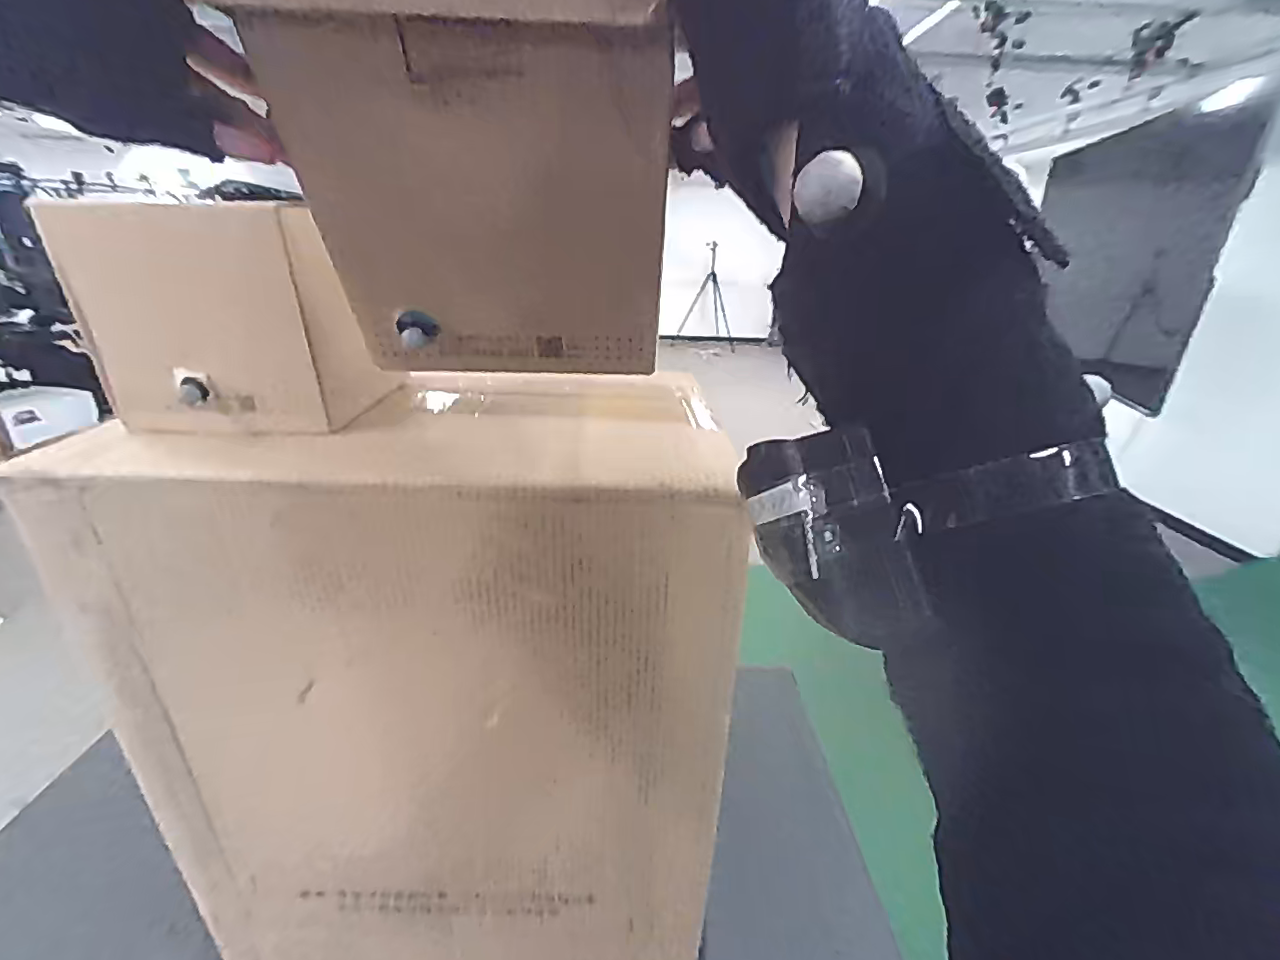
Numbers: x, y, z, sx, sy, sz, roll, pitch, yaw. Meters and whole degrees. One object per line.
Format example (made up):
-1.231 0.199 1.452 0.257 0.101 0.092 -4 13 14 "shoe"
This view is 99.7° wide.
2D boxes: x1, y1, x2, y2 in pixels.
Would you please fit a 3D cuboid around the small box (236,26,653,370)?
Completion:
-0.077 -0.180 0.322 0.168 0.176 0.179 0 49 -2 "small box"

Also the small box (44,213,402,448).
-0.327 -0.137 0.476 0.168 0.176 0.179 -1 27 -1 "small box"
